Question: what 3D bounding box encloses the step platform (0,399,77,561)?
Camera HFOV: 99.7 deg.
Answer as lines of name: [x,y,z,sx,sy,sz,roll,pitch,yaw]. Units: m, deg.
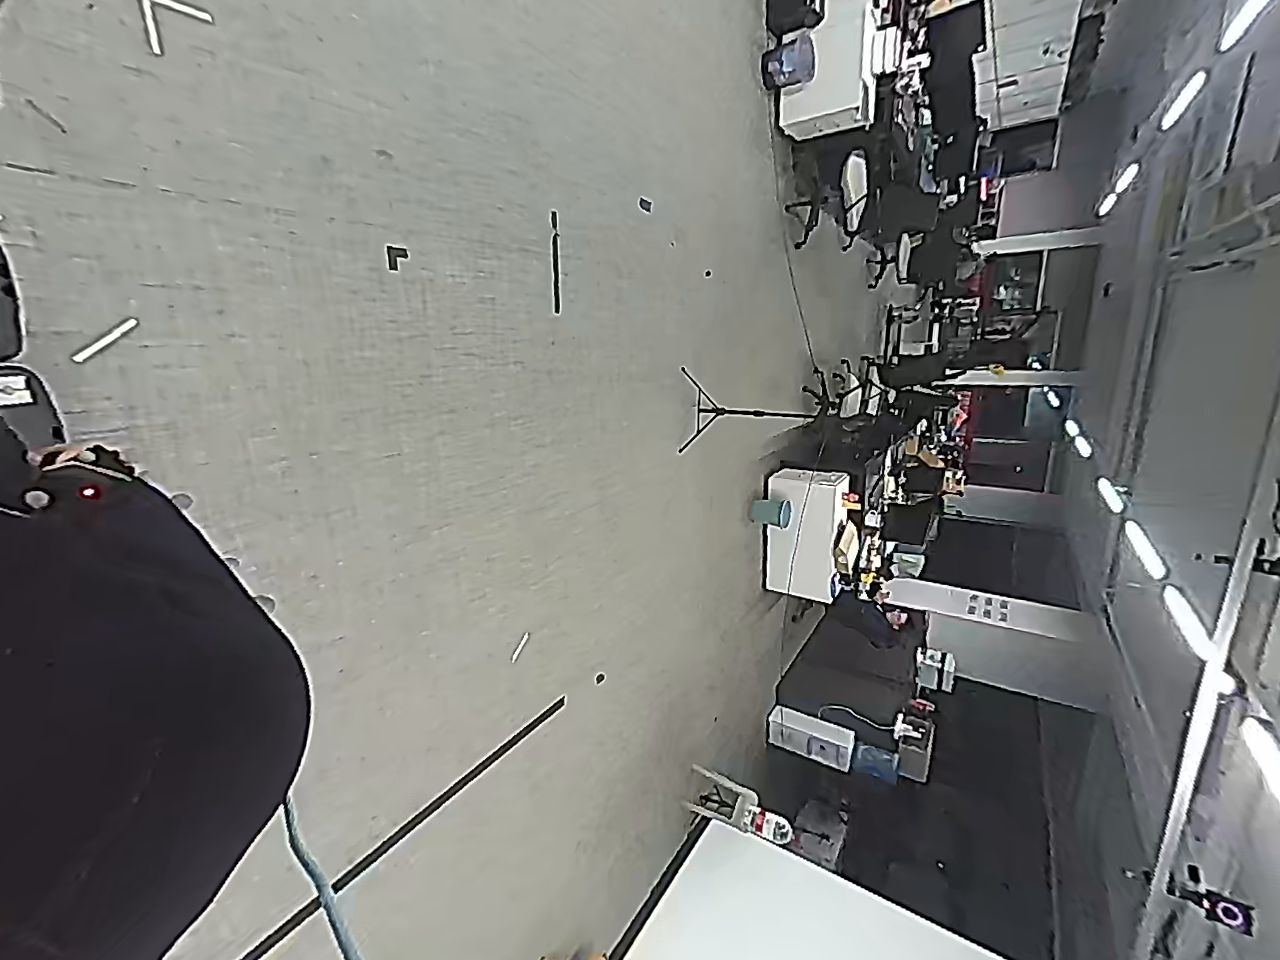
step platform: [-1.309,0.028,0.784,0.684,0.204,0.286,-12,105,-54]
